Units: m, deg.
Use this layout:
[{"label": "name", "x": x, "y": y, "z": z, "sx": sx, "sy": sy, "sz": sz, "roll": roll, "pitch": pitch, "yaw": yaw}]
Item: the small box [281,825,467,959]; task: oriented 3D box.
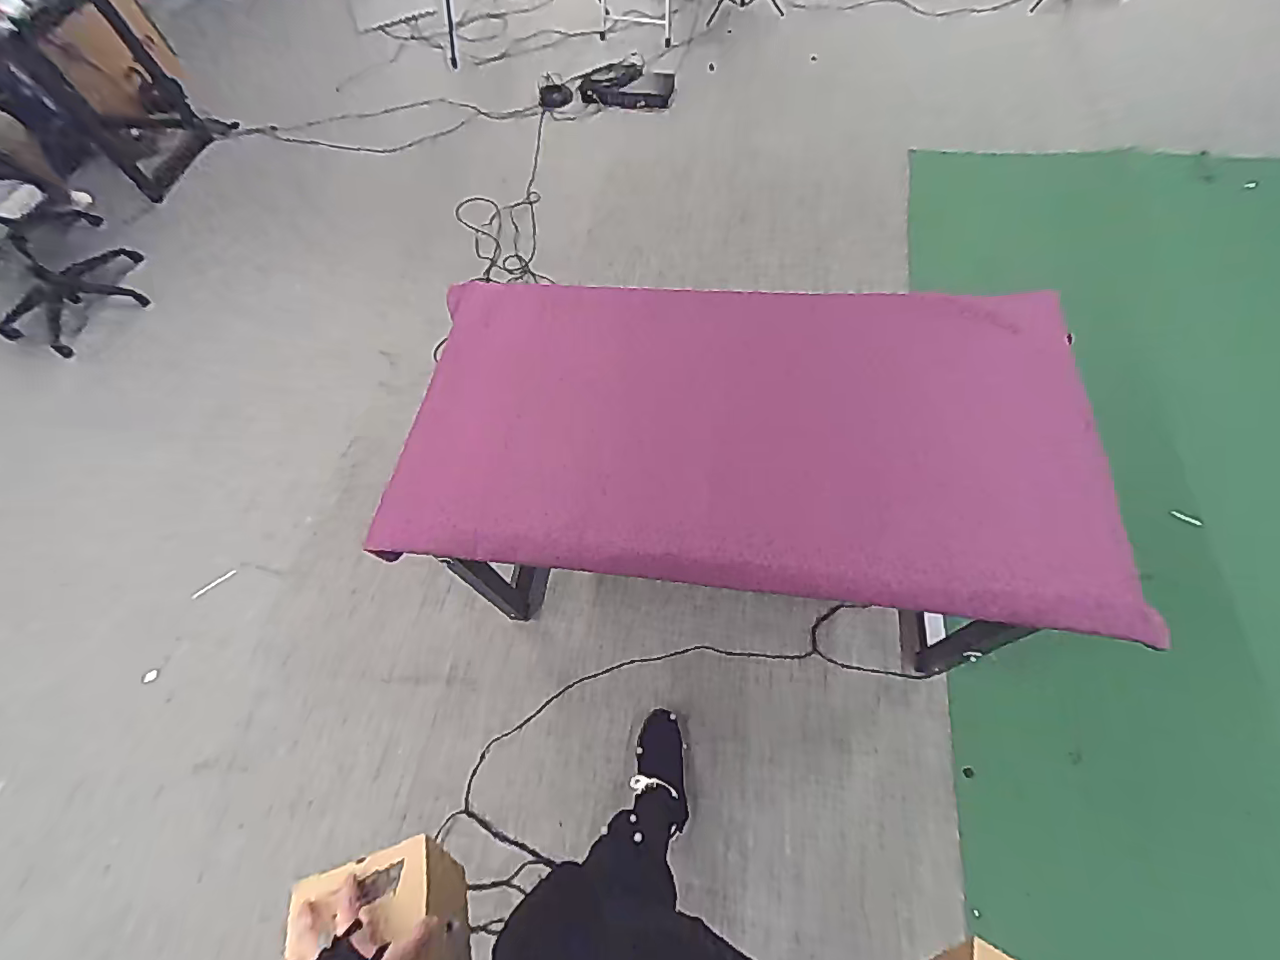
[{"label": "small box", "x": -0.327, "y": 0.586, "z": 0.687, "sx": 0.168, "sy": 0.176, "sz": 0.179, "roll": -17, "pitch": 43, "yaw": -11}]
